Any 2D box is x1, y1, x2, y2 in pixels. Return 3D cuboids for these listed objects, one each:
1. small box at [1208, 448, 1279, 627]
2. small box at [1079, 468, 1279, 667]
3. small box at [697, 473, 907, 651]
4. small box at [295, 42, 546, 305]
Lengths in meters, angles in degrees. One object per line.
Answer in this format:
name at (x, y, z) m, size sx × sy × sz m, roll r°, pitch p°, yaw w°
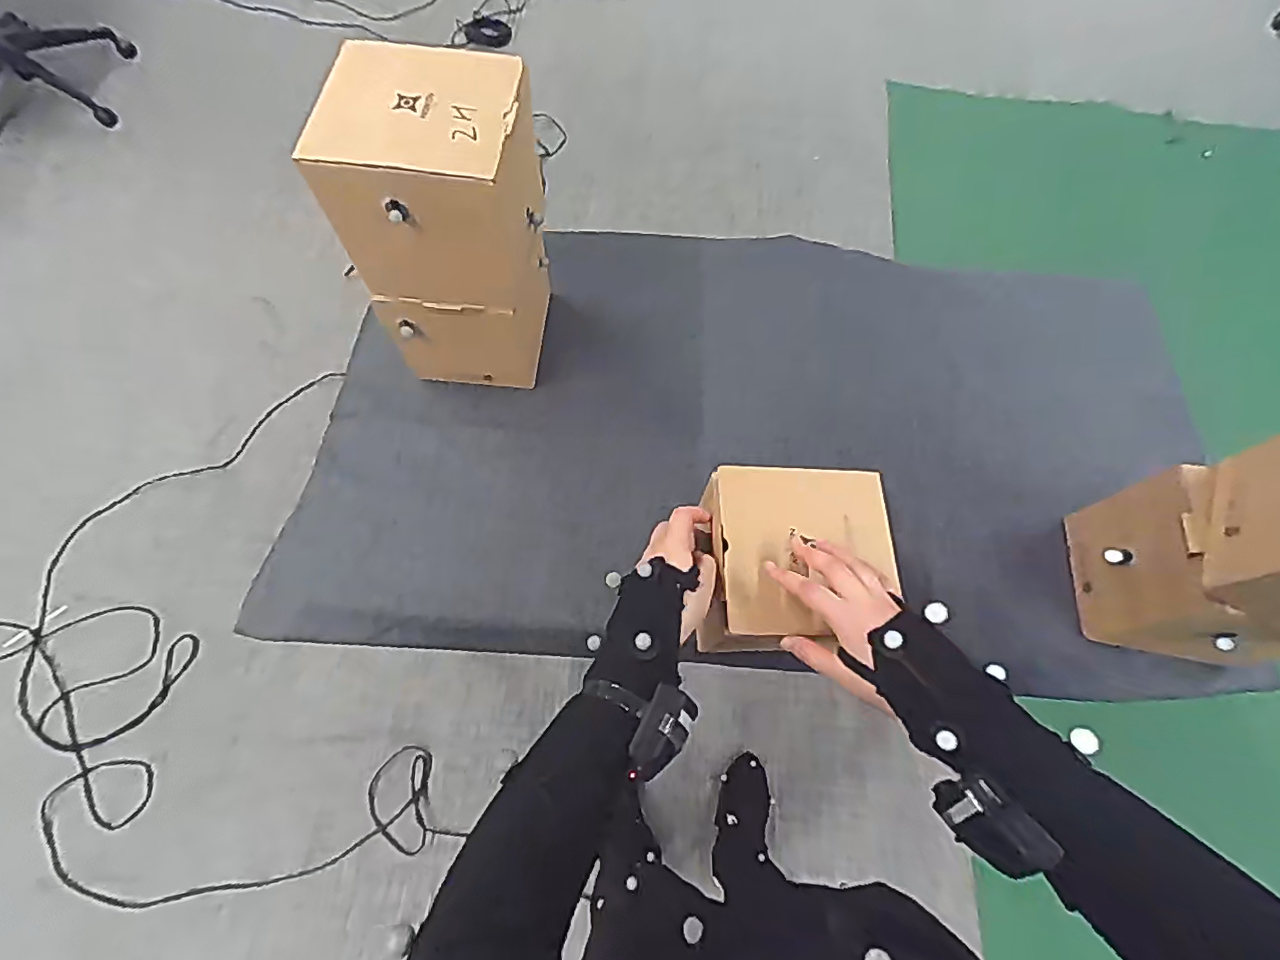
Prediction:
small box at (0.654, 0.055, 0.458) m, size 0.179 × 0.176 × 0.168 m, roll 31°, pitch 67°, yaw 10°
small box at (0.644, 0.107, 0.614) m, size 0.179 × 0.176 × 0.168 m, roll 11°, pitch 65°, yaw 2°
small box at (0.158, 0.098, 0.598) m, size 0.179 × 0.176 × 0.168 m, roll 0°, pitch 70°, yaw -2°
small box at (-0.204, -0.304, 0.561) m, size 0.179 × 0.176 × 0.168 m, roll 6°, pitch 69°, yaw -1°
